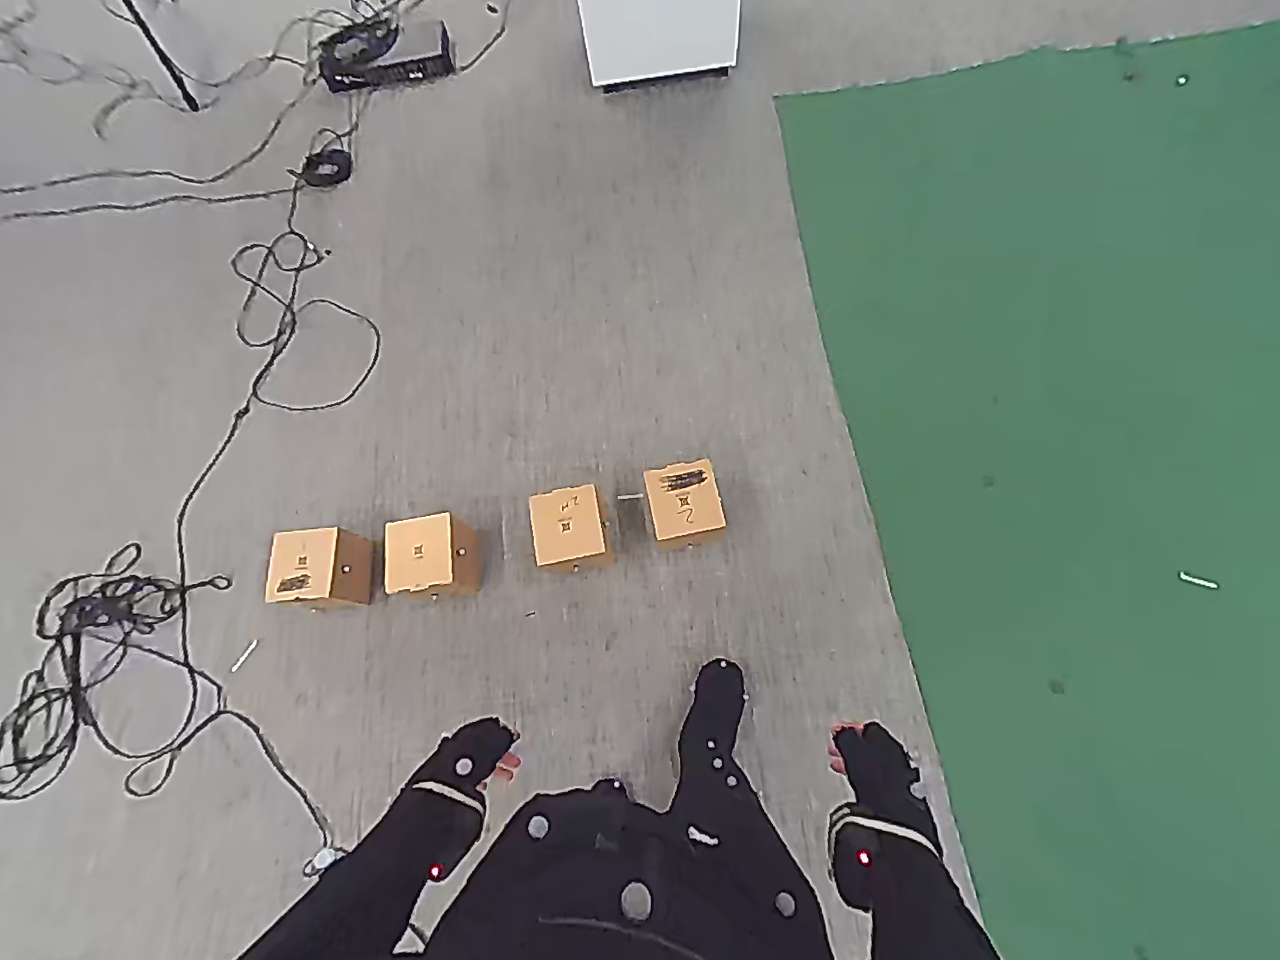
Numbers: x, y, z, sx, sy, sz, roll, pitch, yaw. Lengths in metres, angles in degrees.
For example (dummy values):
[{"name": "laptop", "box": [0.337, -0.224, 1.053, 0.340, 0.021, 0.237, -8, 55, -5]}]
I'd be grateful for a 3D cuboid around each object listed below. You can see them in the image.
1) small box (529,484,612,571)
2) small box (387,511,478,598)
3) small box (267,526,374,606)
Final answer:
[{"name": "small box", "box": [-0.170, 0.128, 1.366, 0.168, 0.176, 0.179, -11, 71, 1]}, {"name": "small box", "box": [-0.524, 0.195, 1.378, 0.168, 0.176, 0.179, -10, 71, 2]}, {"name": "small box", "box": [-0.812, 0.227, 1.393, 0.168, 0.176, 0.179, -5, 70, 4]}]
